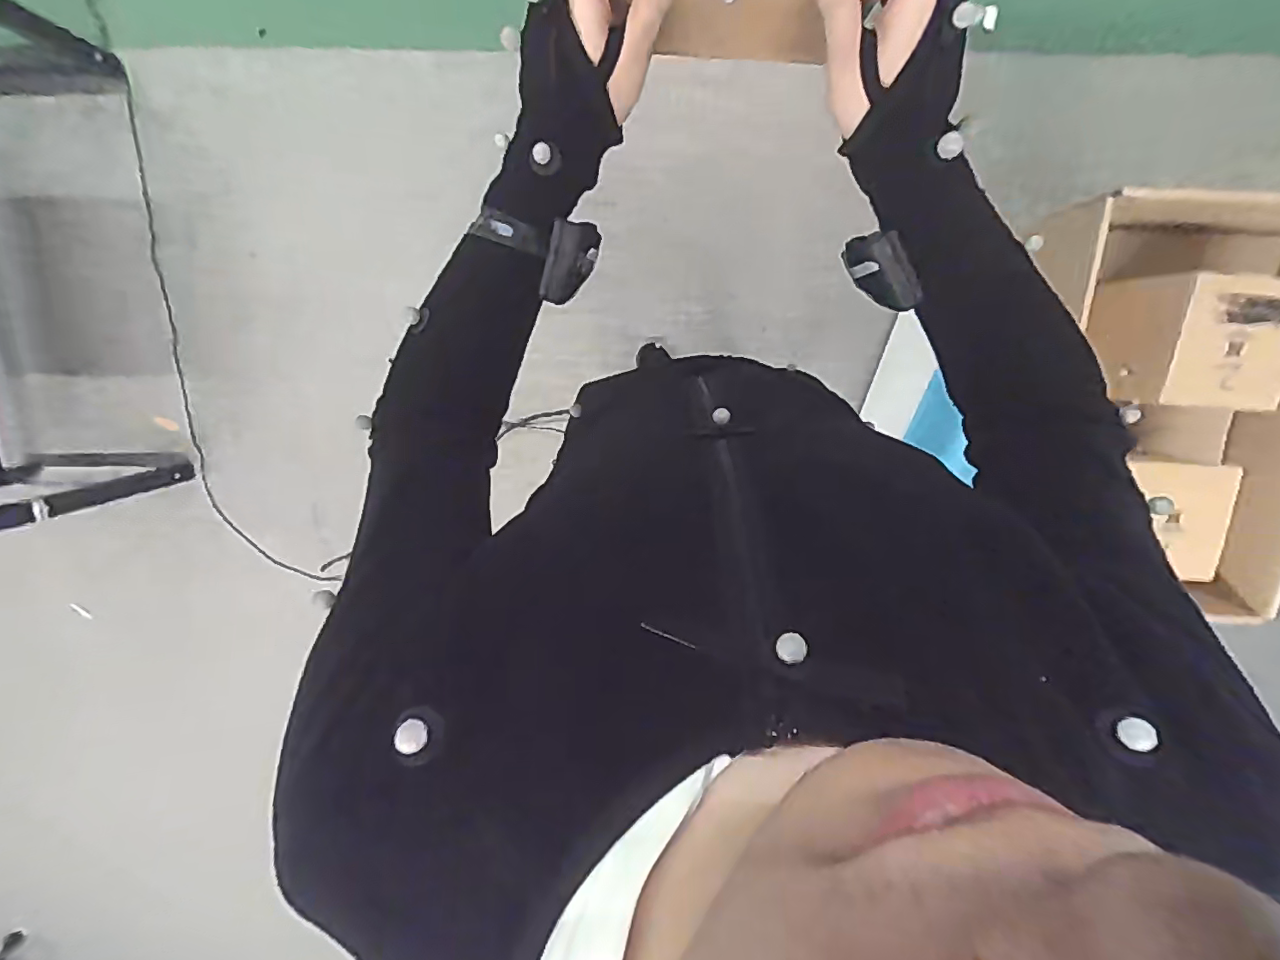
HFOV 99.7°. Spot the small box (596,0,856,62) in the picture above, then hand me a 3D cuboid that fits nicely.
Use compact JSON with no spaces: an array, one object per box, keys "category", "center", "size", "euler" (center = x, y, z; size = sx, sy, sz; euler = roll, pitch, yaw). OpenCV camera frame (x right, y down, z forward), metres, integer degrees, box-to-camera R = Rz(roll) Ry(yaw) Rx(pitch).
[{"category":"small box","center":[0.061,-0.383,0.317],"size":[0.179,0.176,0.168],"euler":[4,101,2]}]
